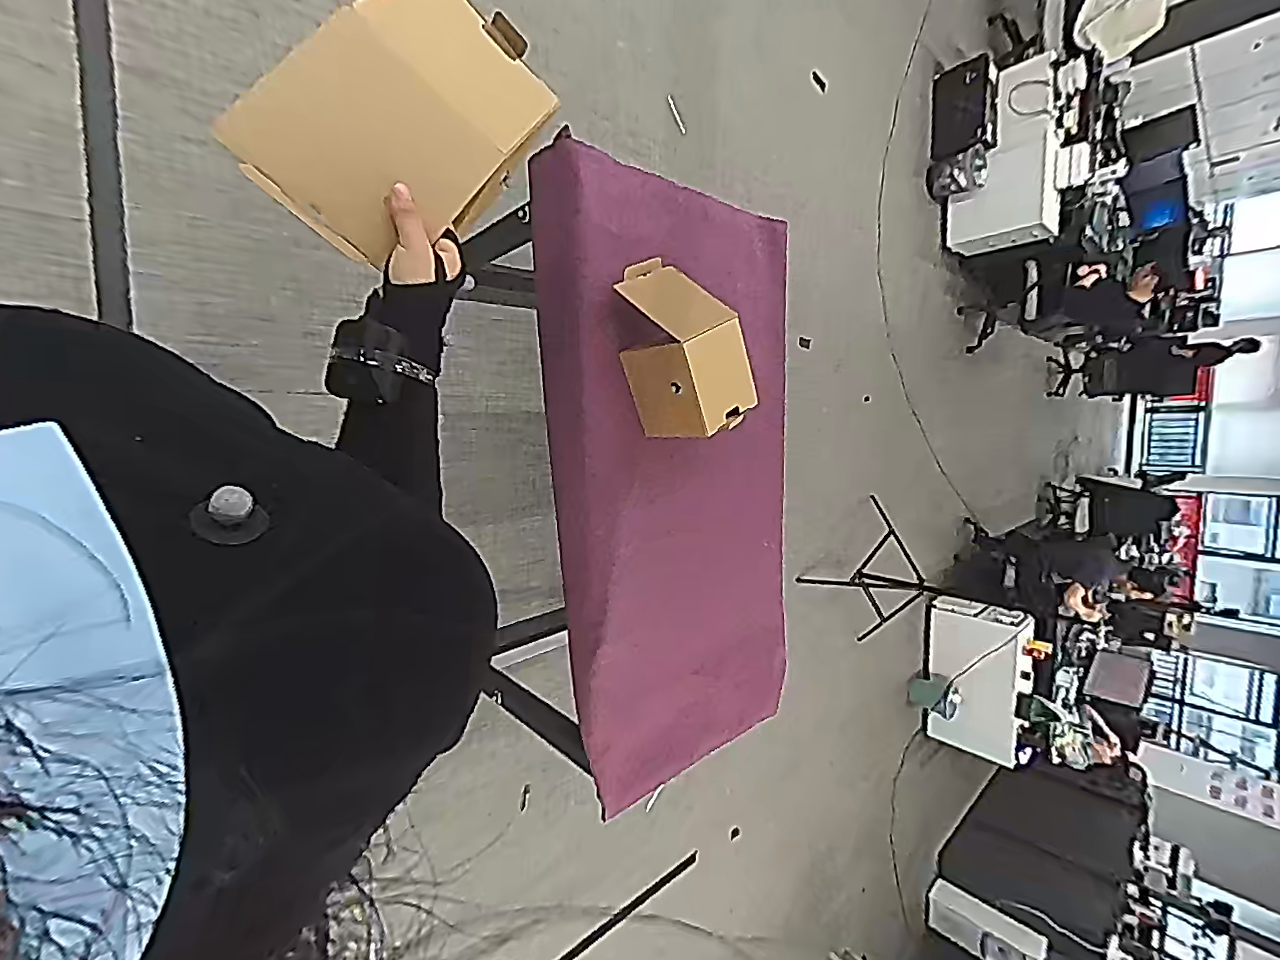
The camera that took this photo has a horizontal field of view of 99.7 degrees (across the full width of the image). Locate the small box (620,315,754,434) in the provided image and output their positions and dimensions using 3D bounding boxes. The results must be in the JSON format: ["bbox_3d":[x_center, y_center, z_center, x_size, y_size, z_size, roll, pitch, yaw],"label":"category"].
[{"bbox_3d":[0.086,-0.195,1.029,0.168,0.176,0.179,-33,115,-35],"label":"small box"}]
